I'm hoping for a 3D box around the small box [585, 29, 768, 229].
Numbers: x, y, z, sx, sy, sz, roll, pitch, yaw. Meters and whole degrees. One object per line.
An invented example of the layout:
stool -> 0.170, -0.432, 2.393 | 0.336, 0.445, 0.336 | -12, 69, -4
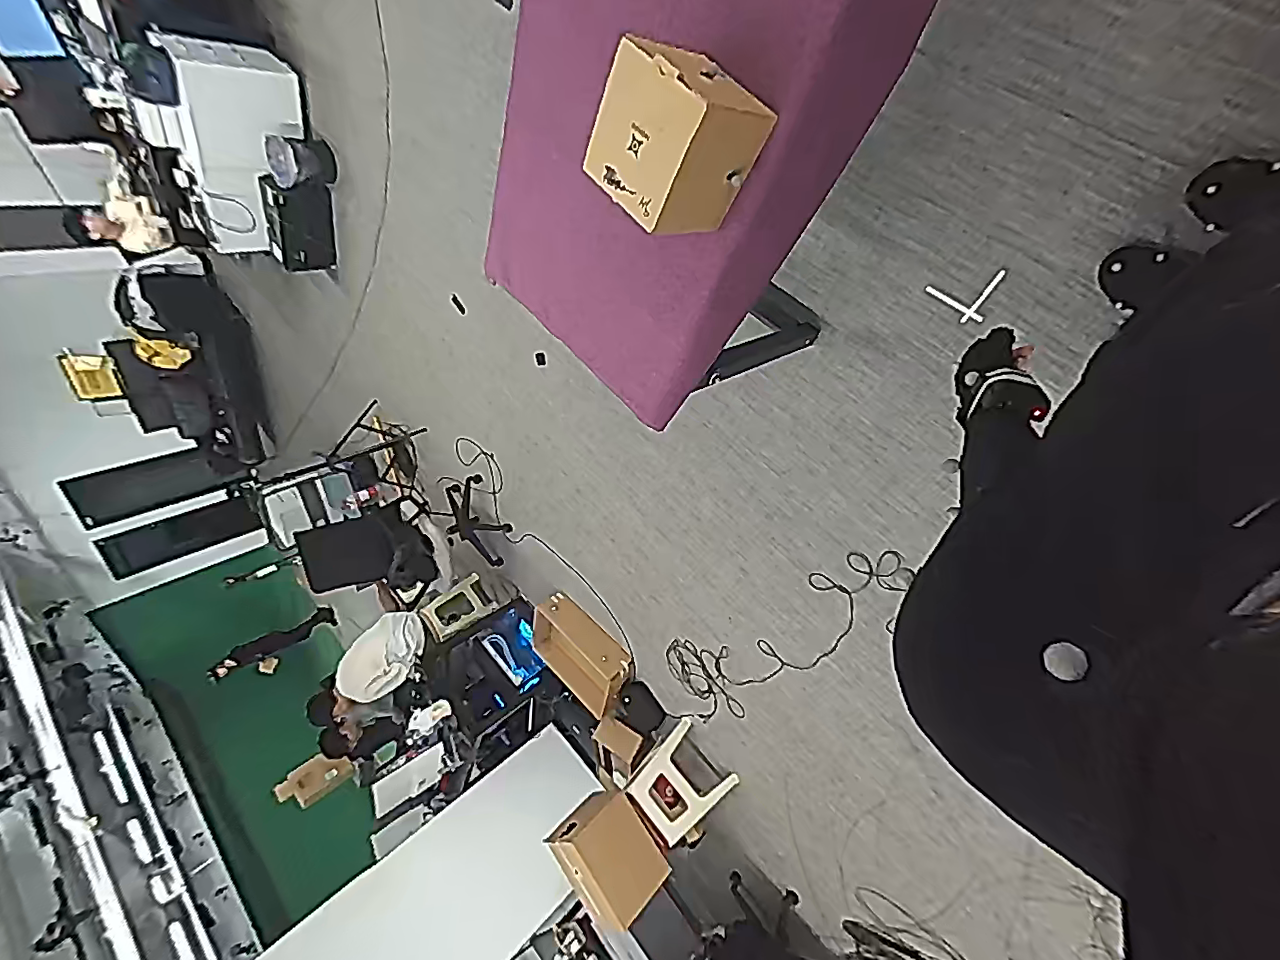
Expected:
small box -> 0.056, -0.490, 0.775 | 0.168, 0.176, 0.179 | 50, 137, 16
